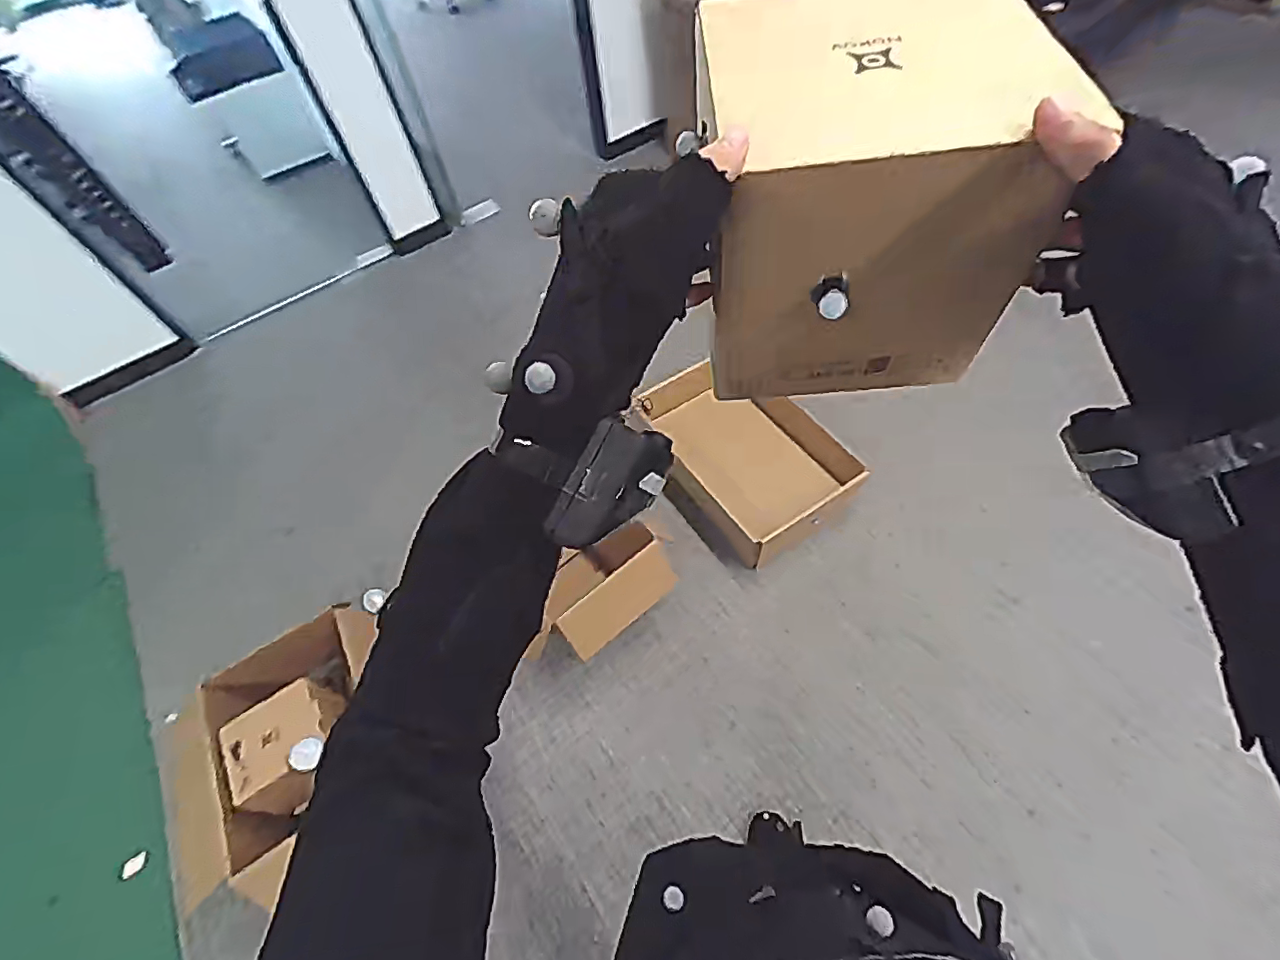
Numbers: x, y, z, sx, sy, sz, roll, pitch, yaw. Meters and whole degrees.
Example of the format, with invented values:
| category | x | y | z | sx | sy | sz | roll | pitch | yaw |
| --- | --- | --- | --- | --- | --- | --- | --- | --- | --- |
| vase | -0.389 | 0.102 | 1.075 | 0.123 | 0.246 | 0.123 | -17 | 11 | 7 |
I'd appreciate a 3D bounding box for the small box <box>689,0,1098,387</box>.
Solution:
| category | x | y | z | sx | sy | sz | roll | pitch | yaw |
| --- | --- | --- | --- | --- | --- | --- | --- | --- | --- |
| small box | 0.121 | -0.173 | 0.344 | 0.168 | 0.176 | 0.179 | -4 | 60 | 5 |
